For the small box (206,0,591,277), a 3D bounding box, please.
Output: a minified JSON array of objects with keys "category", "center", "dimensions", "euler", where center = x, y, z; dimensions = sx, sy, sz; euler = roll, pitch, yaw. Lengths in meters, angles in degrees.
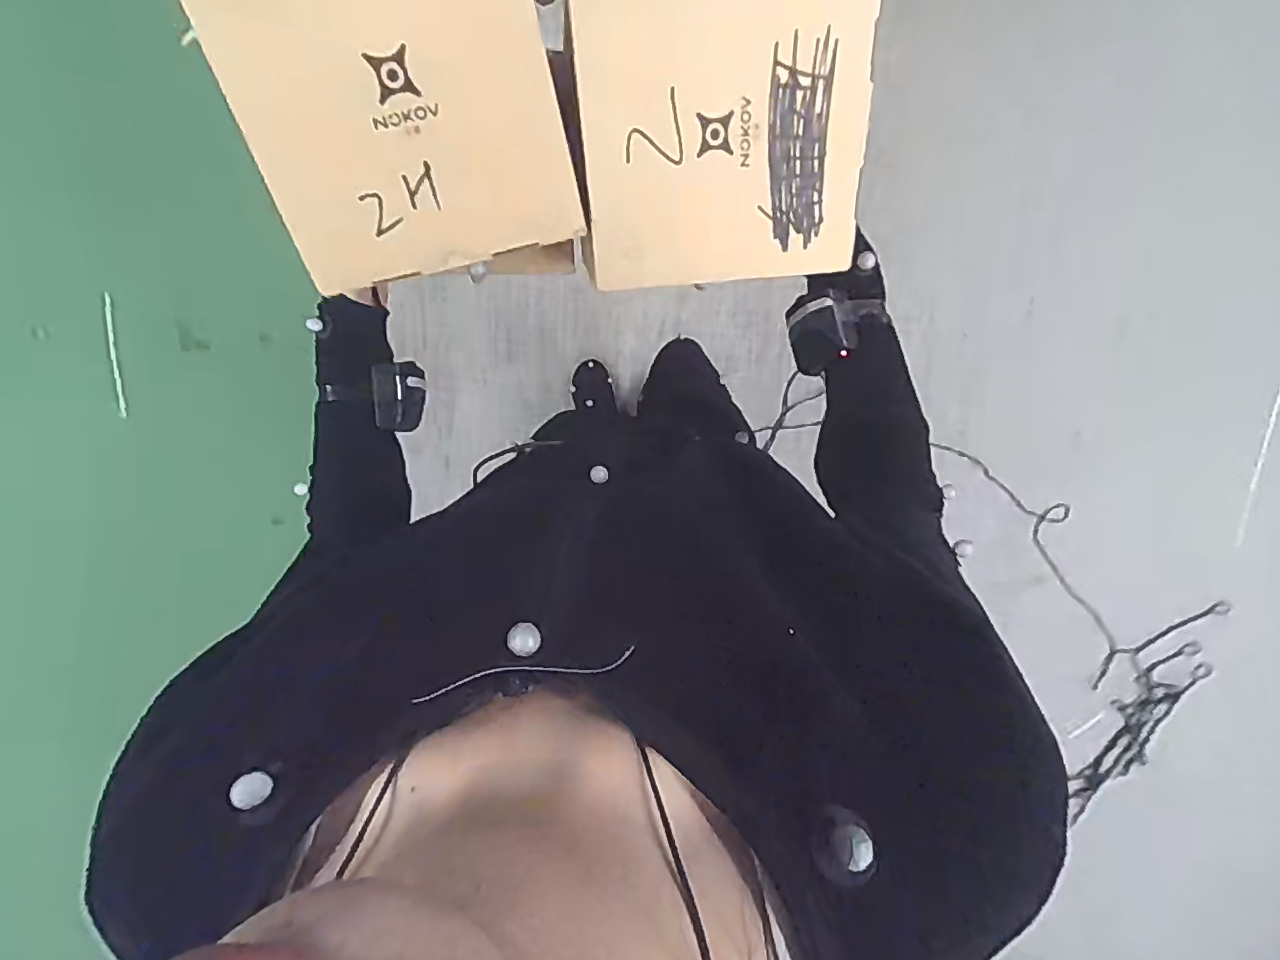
[{"category":"small box","center":[-0.136,-0.245,0.357],"dimensions":[0.168,0.176,0.179],"euler":[-14,117,-4]}]
